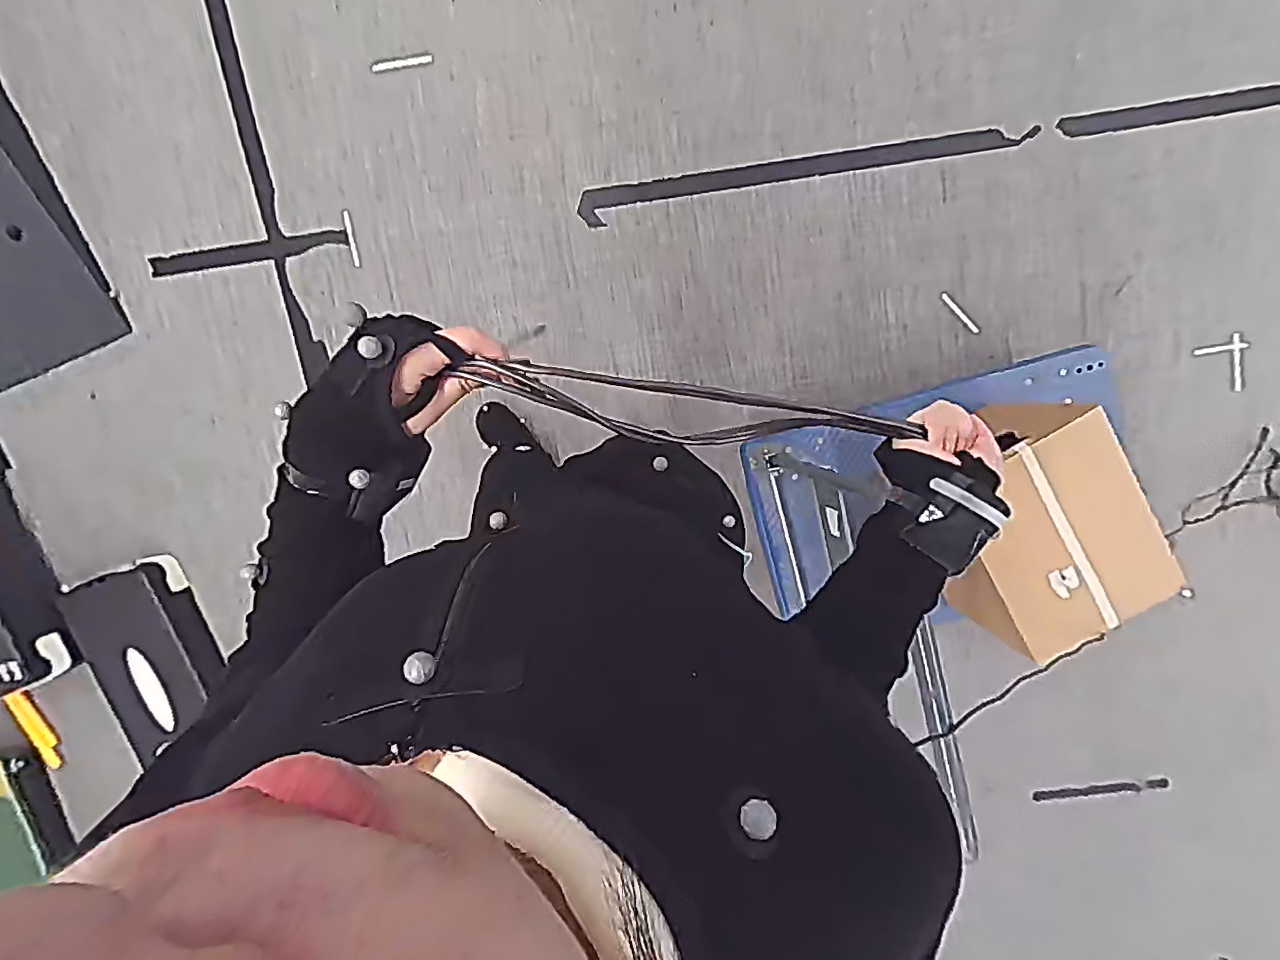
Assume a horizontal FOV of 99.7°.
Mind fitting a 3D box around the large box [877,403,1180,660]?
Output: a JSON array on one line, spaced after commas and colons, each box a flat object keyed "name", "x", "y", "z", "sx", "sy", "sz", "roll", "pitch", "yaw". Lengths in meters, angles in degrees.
[{"name": "large box", "x": 0.792, "y": 0.084, "z": 1.157, "sx": 0.320, "sy": 0.320, "sz": 0.408, "roll": -31, "pitch": 98, "yaw": 5}]
